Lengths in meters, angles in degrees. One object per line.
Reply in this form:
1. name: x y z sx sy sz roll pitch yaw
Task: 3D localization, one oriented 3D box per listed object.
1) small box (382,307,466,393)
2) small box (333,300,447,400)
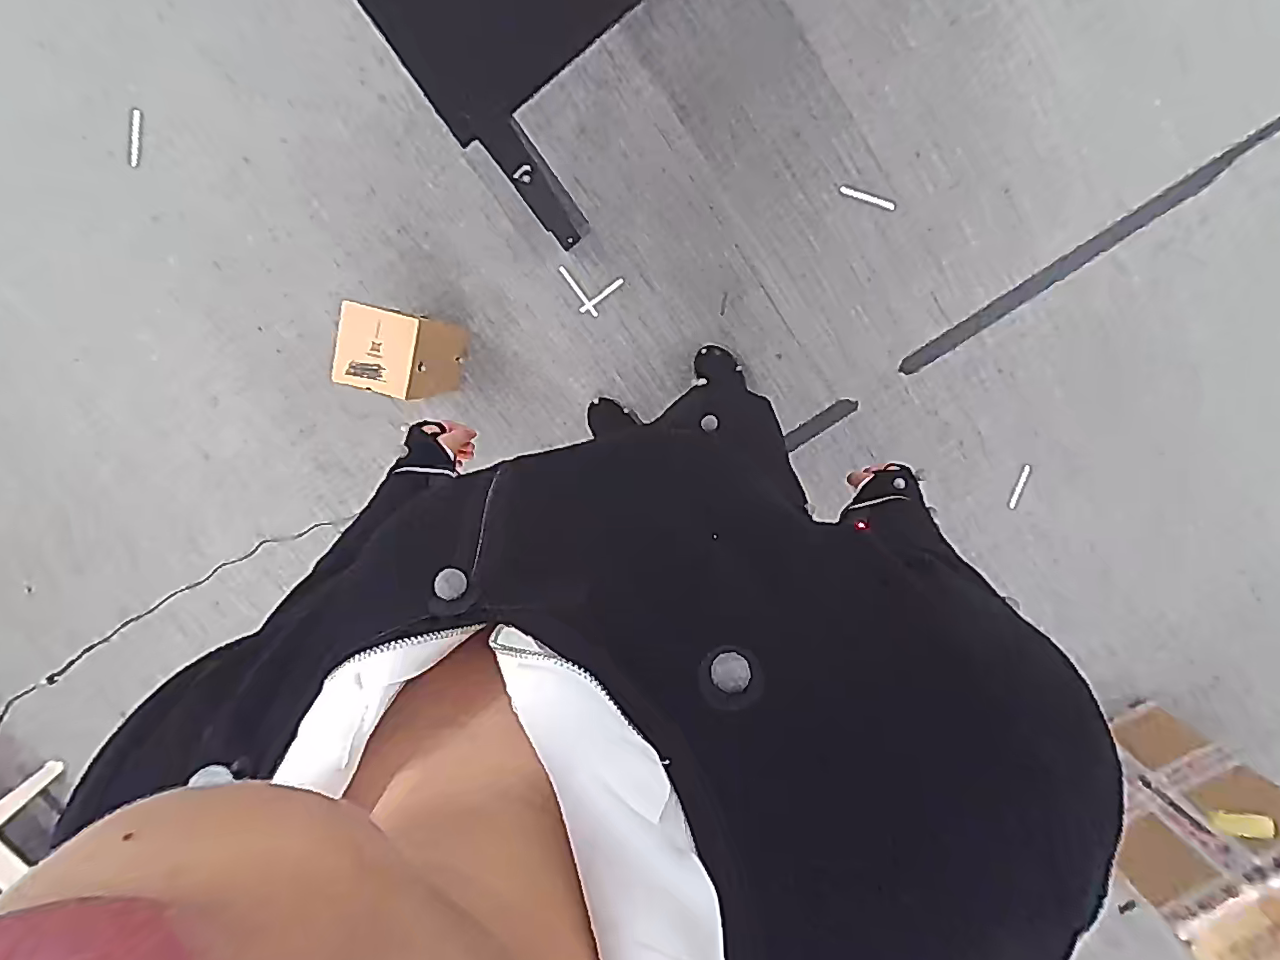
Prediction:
1. small box: -0.562 -0.327 1.384 0.168 0.176 0.179 13 100 0
2. small box: -0.557 -0.289 1.222 0.168 0.176 0.179 15 101 -1
